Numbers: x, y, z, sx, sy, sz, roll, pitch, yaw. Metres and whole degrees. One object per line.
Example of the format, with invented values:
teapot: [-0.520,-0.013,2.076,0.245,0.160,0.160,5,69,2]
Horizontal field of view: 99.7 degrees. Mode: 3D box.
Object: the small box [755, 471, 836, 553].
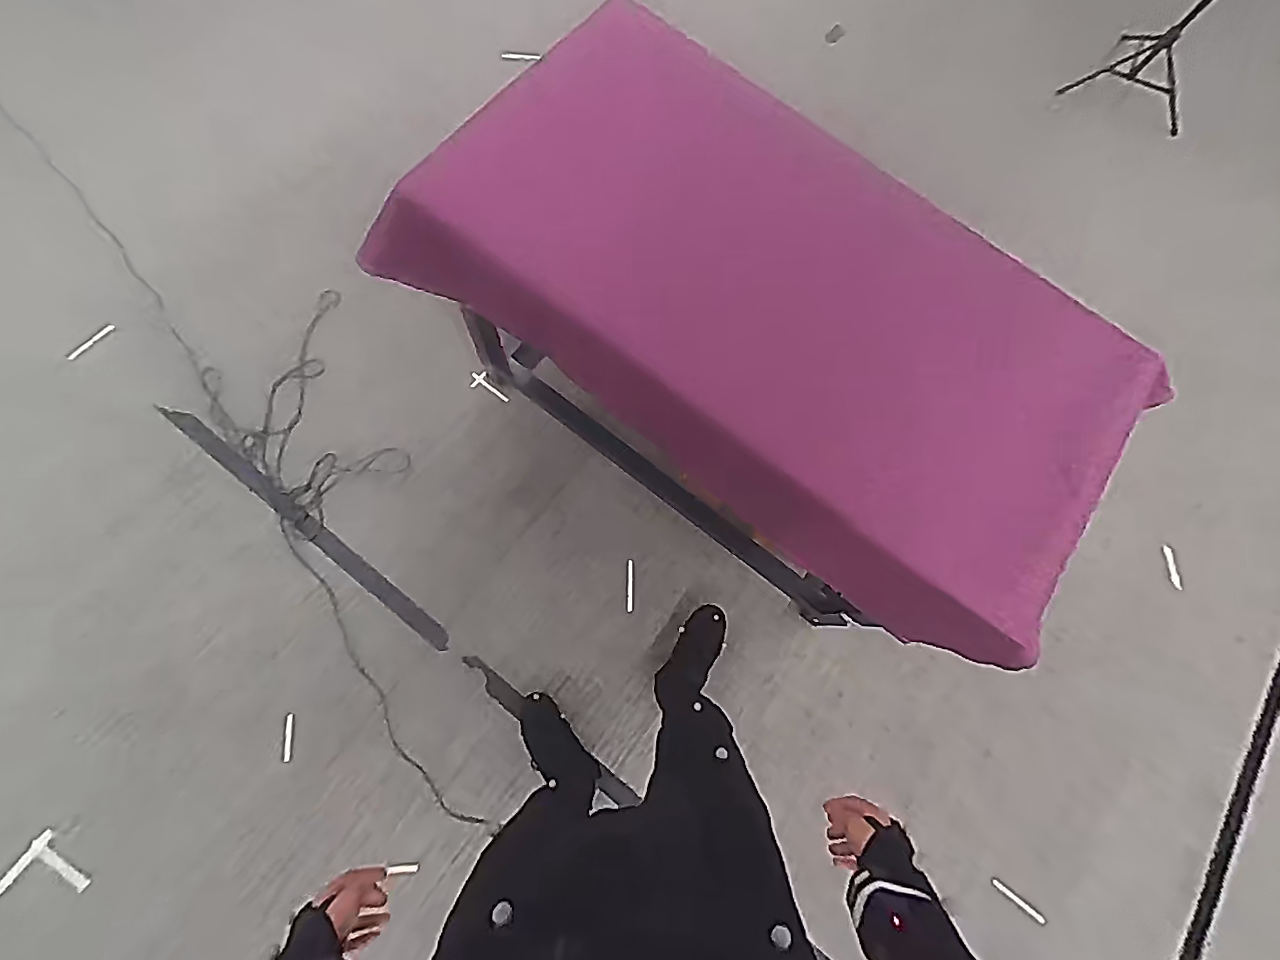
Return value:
small box: [0.423,0.093,1.487,0.168,0.176,0.179,10,74,-2]
